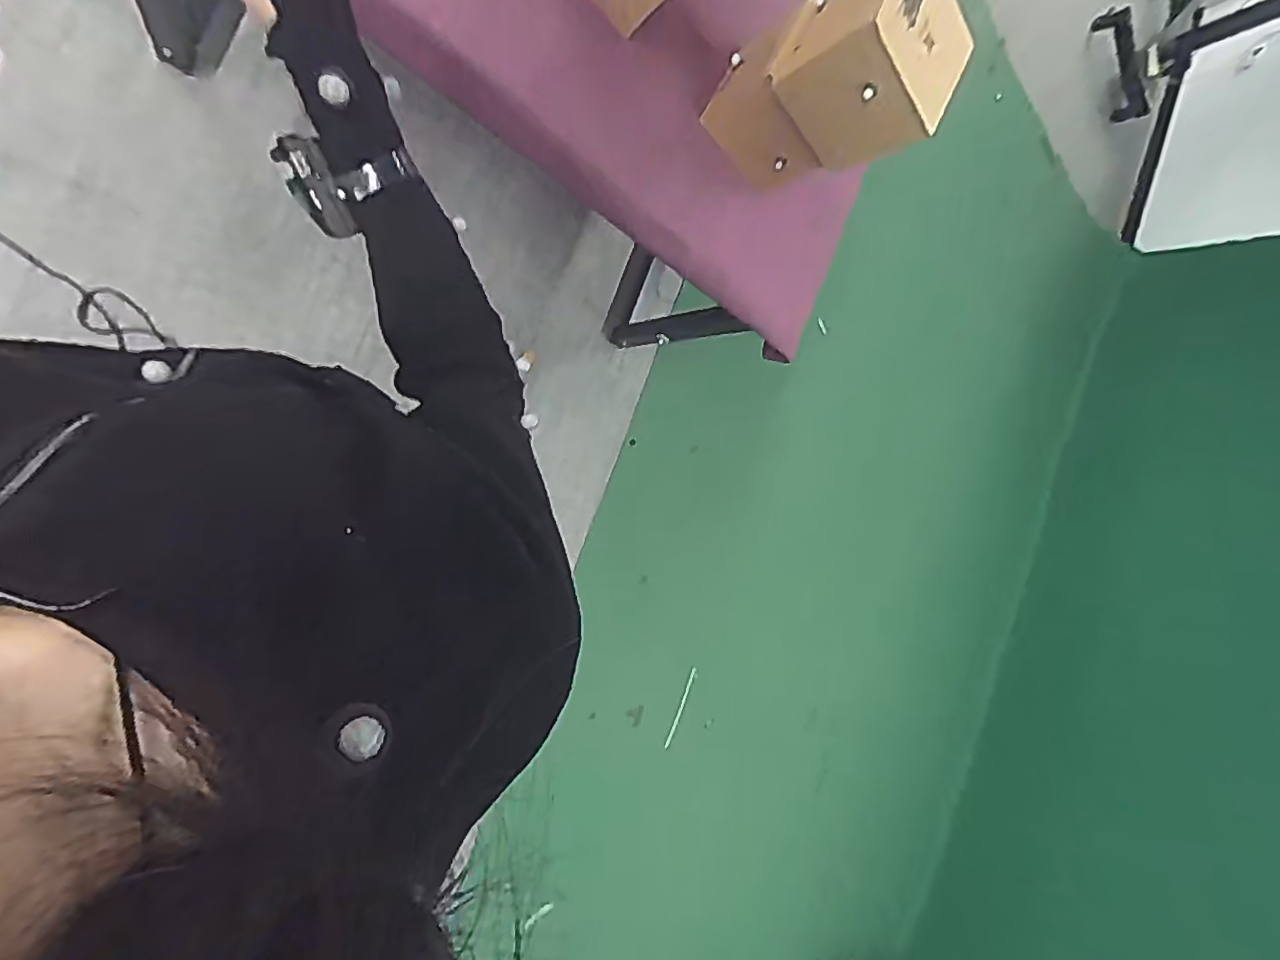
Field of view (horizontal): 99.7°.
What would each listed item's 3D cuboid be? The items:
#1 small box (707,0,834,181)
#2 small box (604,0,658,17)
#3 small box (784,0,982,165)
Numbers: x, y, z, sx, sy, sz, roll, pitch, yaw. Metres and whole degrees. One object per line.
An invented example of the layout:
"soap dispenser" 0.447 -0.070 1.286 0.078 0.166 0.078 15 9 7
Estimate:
"small box" 0.248 -0.630 0.894 0.179 0.176 0.168 34 79 -32
"small box" -0.002 -0.769 0.709 0.179 0.176 0.168 26 83 -33
"small box" 0.336 -0.590 0.761 0.179 0.176 0.168 33 79 -33
